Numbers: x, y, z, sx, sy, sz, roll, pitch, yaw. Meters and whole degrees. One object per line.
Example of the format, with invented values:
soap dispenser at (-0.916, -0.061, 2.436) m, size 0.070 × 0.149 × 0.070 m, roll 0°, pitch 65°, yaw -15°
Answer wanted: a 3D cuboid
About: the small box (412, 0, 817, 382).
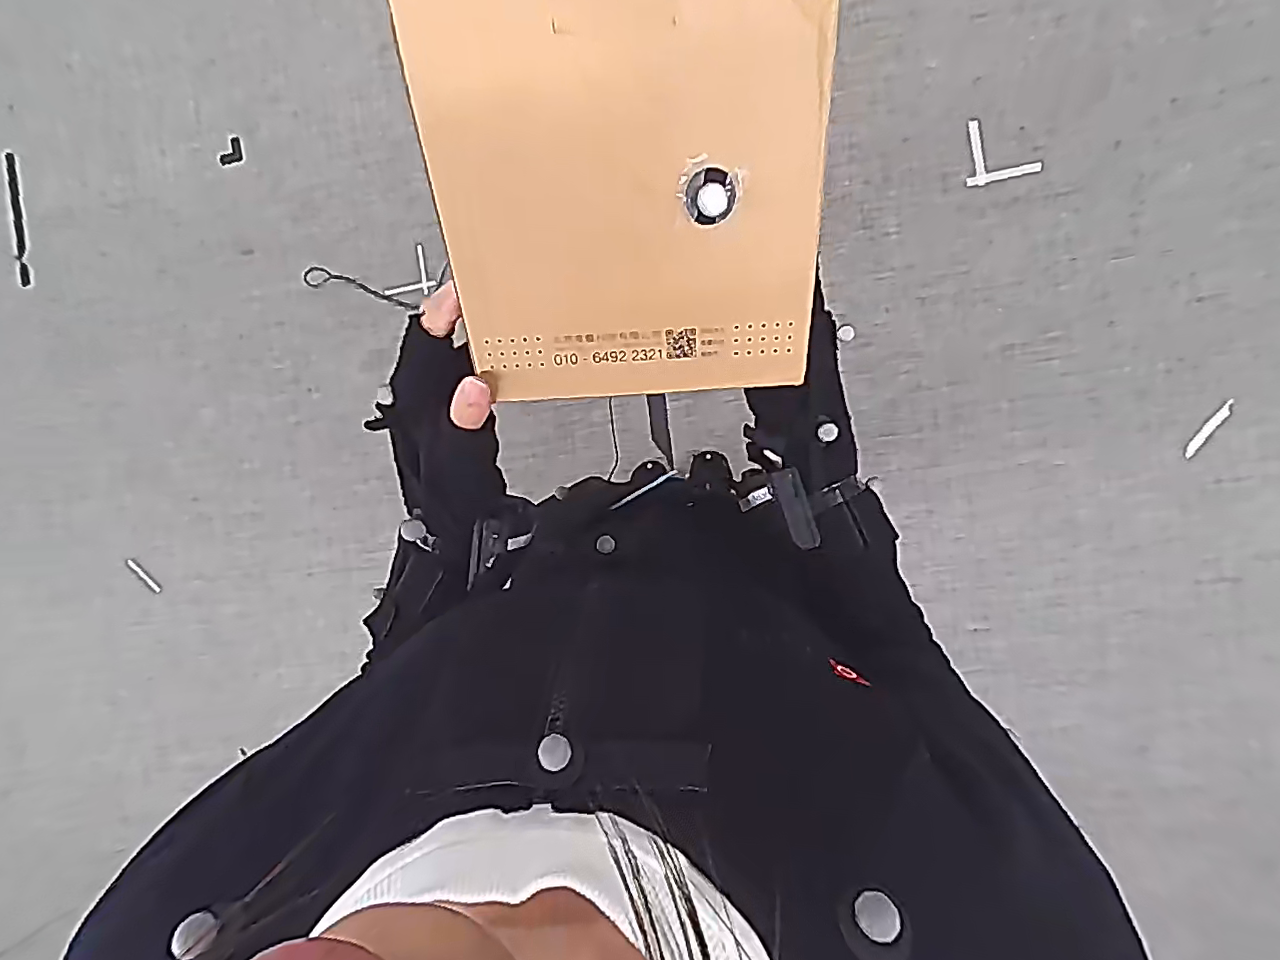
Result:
small box at (-0.001, -0.163, 0.320) m, size 0.168 × 0.179 × 0.176 m, roll -2°, pitch 122°, yaw 4°
